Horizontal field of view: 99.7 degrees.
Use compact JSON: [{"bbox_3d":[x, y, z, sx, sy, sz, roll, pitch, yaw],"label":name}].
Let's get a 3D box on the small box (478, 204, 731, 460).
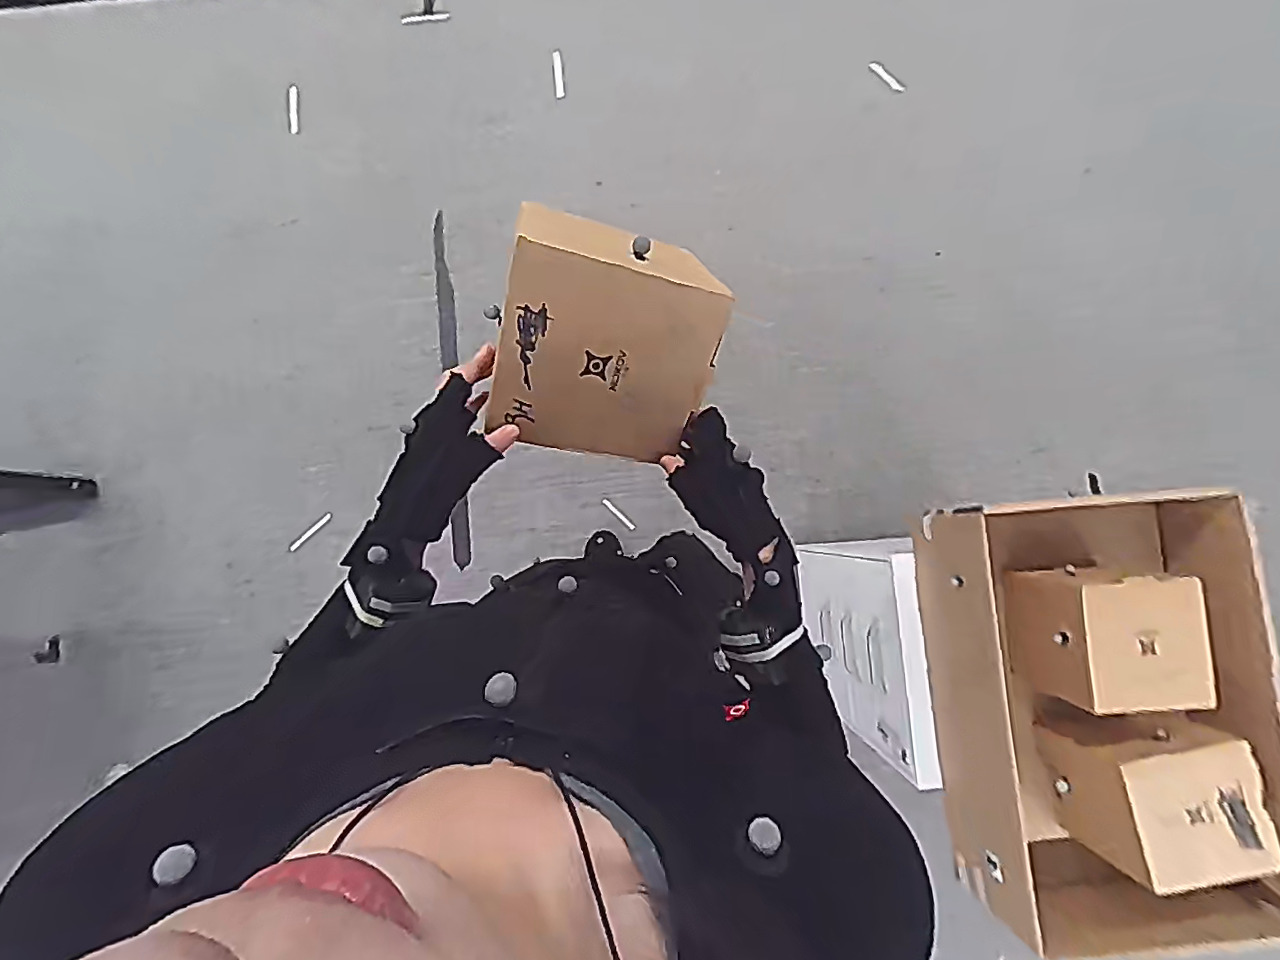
[{"bbox_3d":[-0.047,-0.140,0.503,0.179,0.176,0.168,9,121,-18],"label":"small box"}]
